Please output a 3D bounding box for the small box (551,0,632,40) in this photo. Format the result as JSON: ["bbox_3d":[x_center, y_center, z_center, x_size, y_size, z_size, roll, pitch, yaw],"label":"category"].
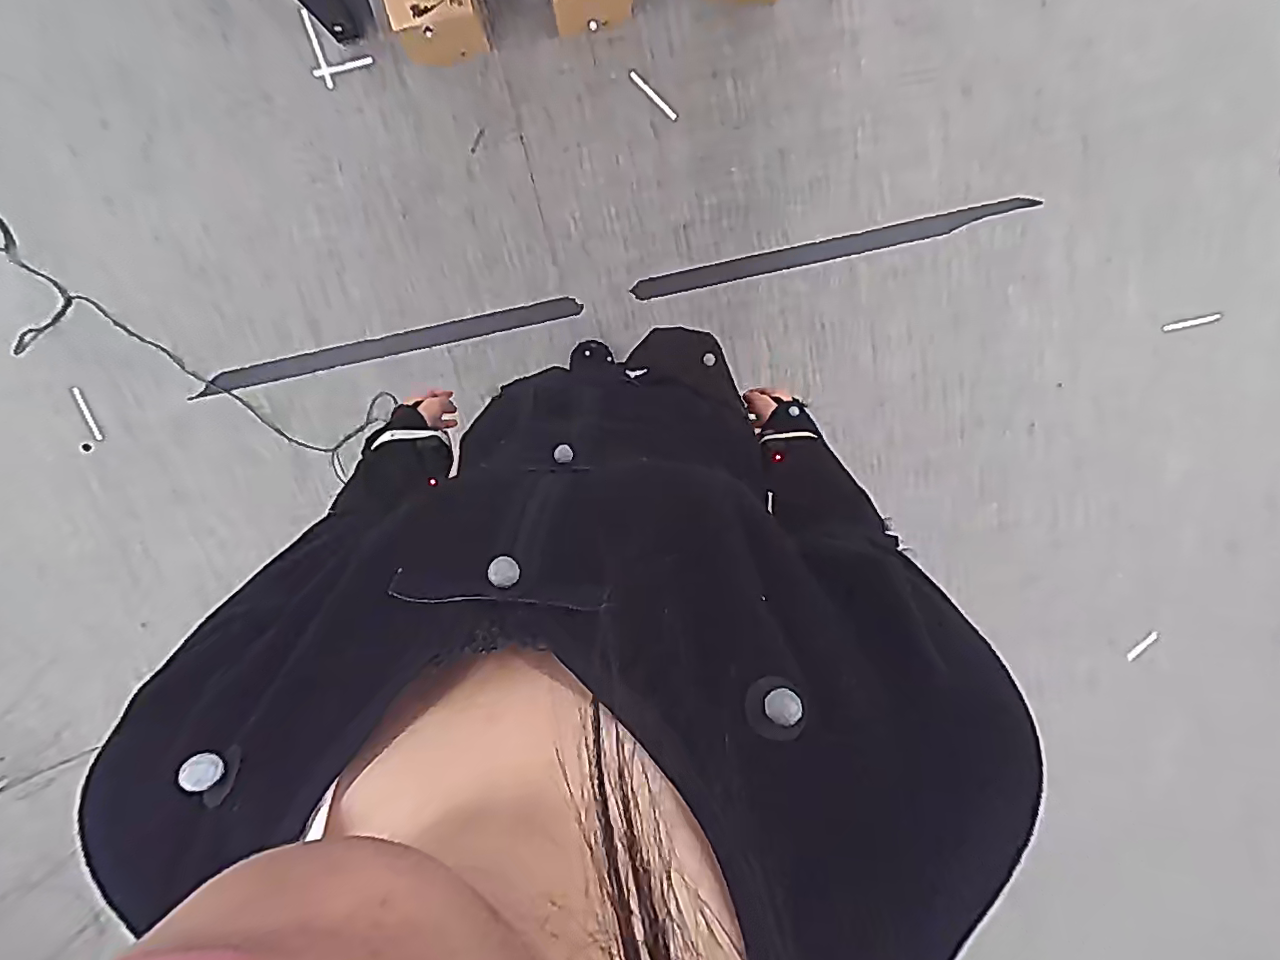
[{"bbox_3d":[-0.115,-1.063,1.113,0.168,0.176,0.179,-14,107,1],"label":"small box"}]

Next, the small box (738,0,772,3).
[{"bbox_3d":[0.236,-1.129,1.114,0.179,0.176,0.168,4,106,-2],"label":"small box"}]

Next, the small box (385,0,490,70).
[{"bbox_3d":[-0.425,-0.999,1.117,0.168,0.176,0.179,-11,105,0],"label":"small box"}]
